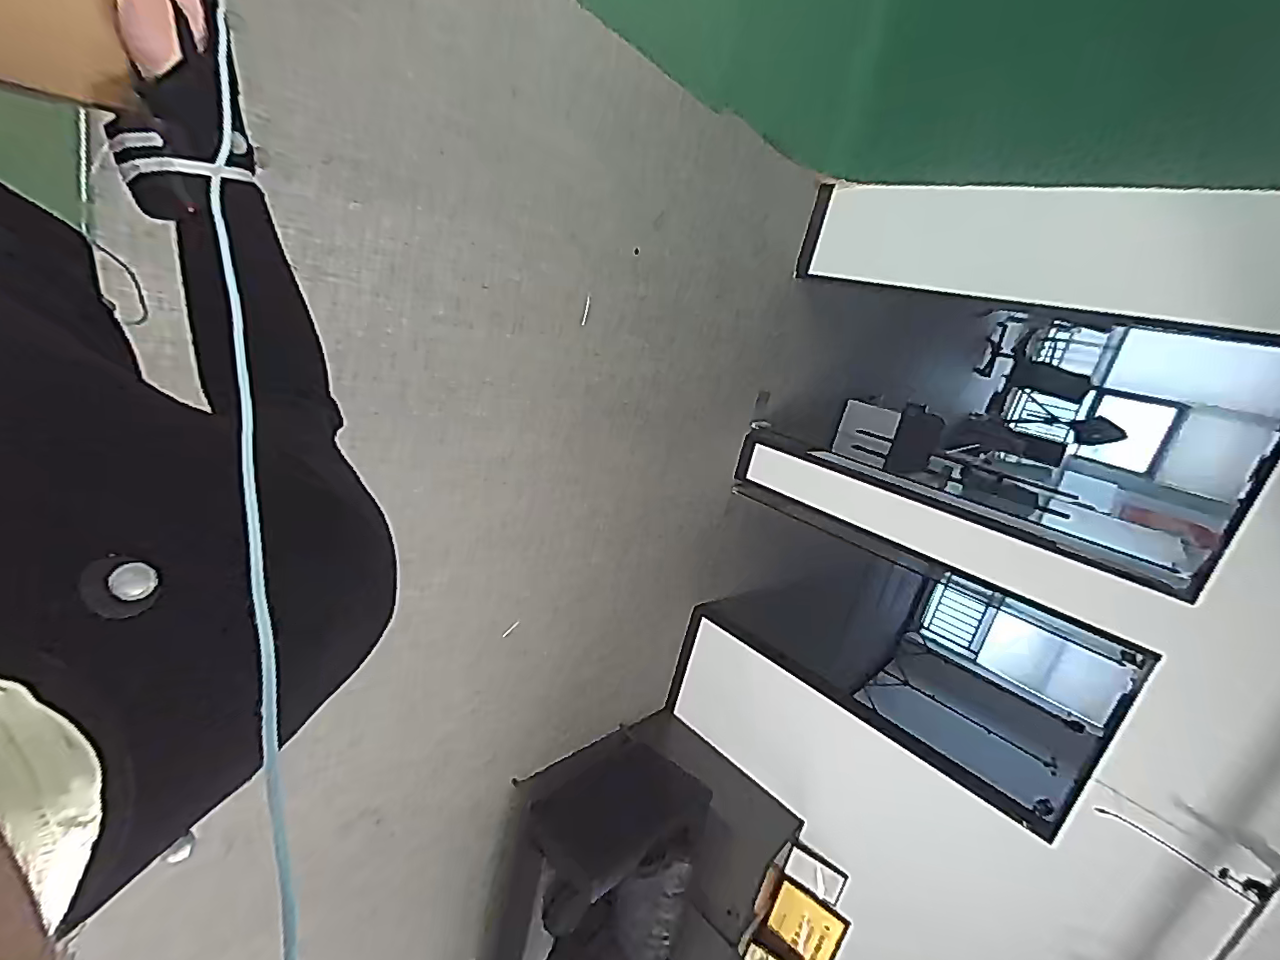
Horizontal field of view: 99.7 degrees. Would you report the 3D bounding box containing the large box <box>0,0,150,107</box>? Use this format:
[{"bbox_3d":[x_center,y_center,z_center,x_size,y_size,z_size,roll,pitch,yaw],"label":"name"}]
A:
[{"bbox_3d":[-0.586,-0.445,0.294,0.408,0.320,0.320,-14,125,-48],"label":"large box"}]
